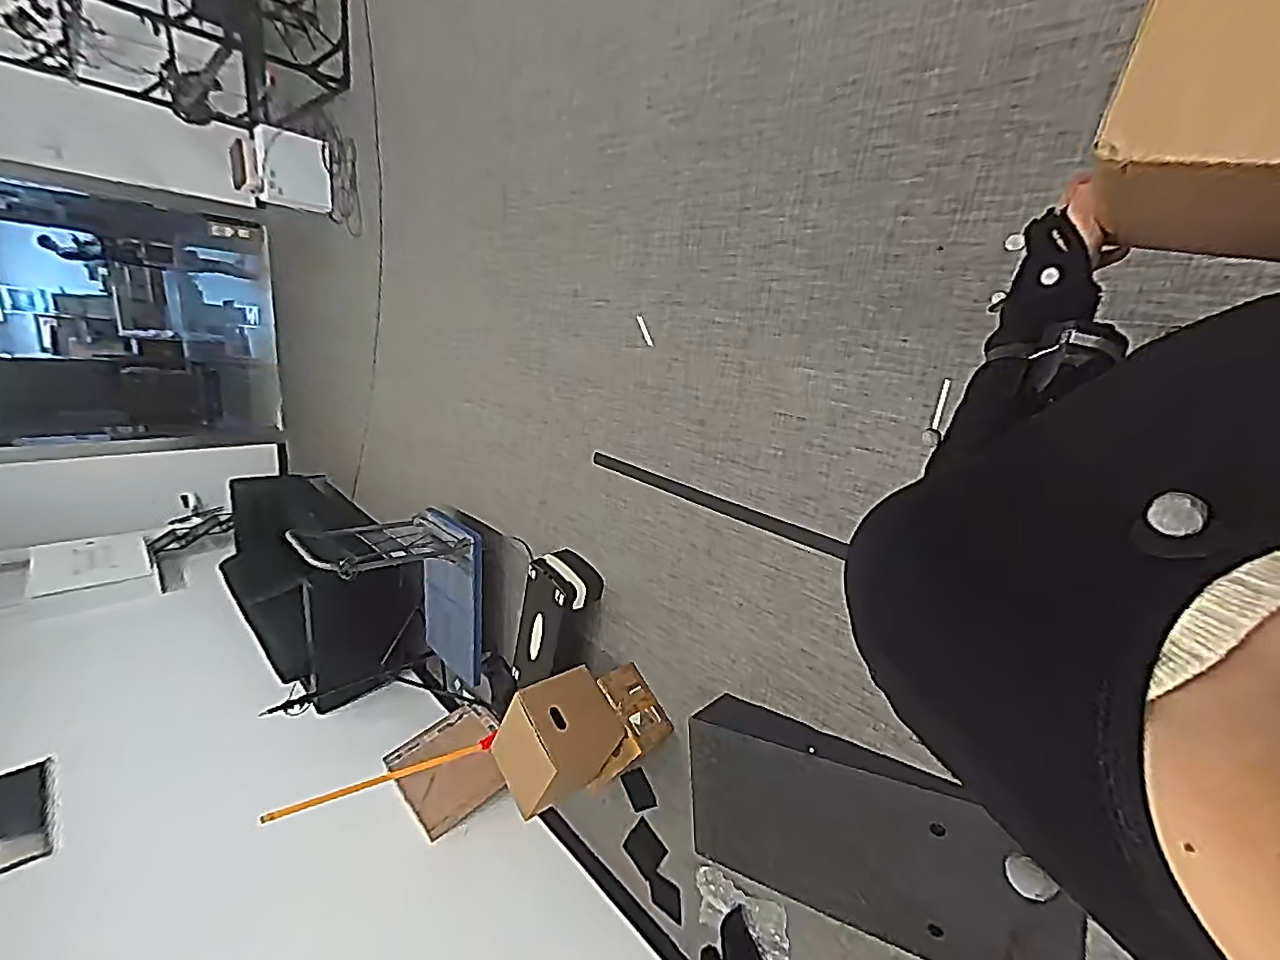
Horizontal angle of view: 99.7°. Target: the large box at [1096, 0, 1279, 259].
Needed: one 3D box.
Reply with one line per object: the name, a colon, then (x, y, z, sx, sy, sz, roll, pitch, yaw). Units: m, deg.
large box: (0.487, -0.259, 0.212, 0.408, 0.320, 0.320, 24, 117, 33)
